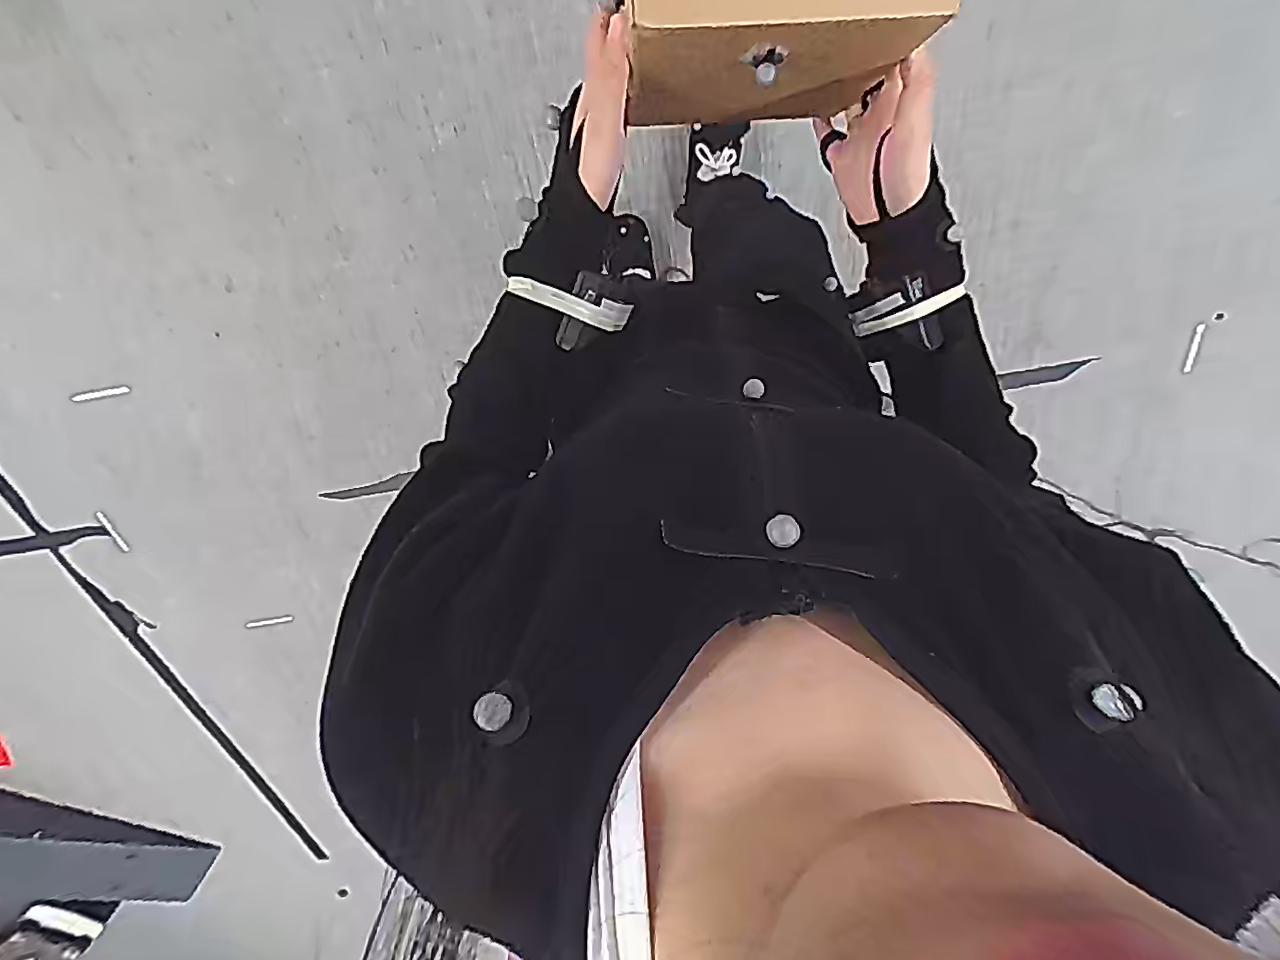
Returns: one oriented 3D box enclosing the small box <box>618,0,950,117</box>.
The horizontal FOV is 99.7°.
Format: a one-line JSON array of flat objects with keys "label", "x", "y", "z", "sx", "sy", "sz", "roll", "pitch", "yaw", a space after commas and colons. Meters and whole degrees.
[{"label": "small box", "x": 0.072, "y": -0.345, "z": 0.336, "sx": 0.179, "sy": 0.176, "sz": 0.168, "roll": -4, "pitch": 109, "yaw": -2}]
